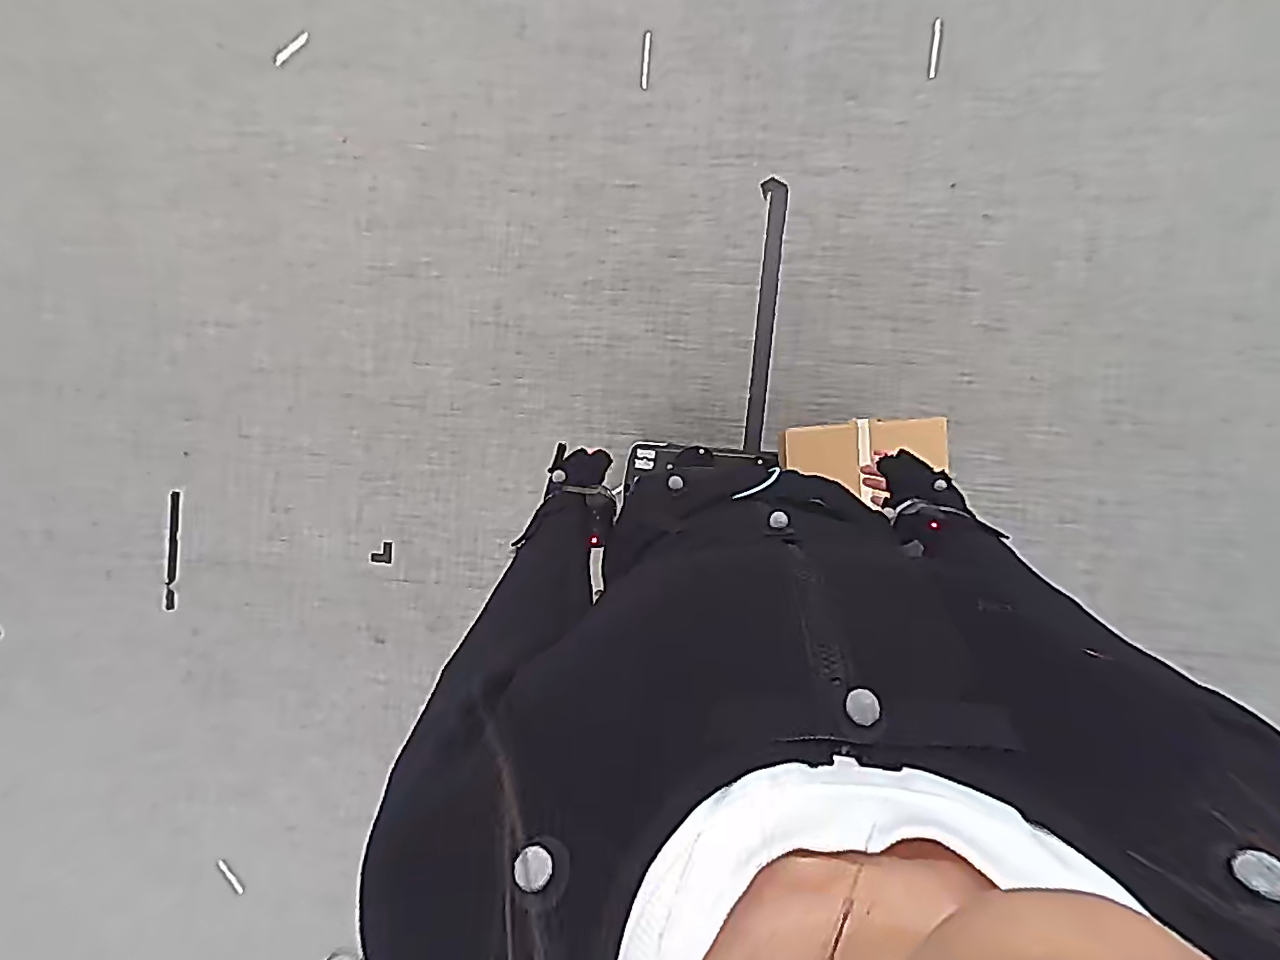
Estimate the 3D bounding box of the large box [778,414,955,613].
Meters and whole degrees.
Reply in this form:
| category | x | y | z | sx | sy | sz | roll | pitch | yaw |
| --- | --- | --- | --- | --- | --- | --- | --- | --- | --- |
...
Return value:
| category | x | y | z | sx | sy | sz | roll | pitch | yaw |
| --- | --- | --- | --- | --- | --- | --- | --- | --- | --- |
| large box | 0.503 | 0.065 | 1.263 | 0.320 | 0.320 | 0.408 | -4 | 94 | 12 |
